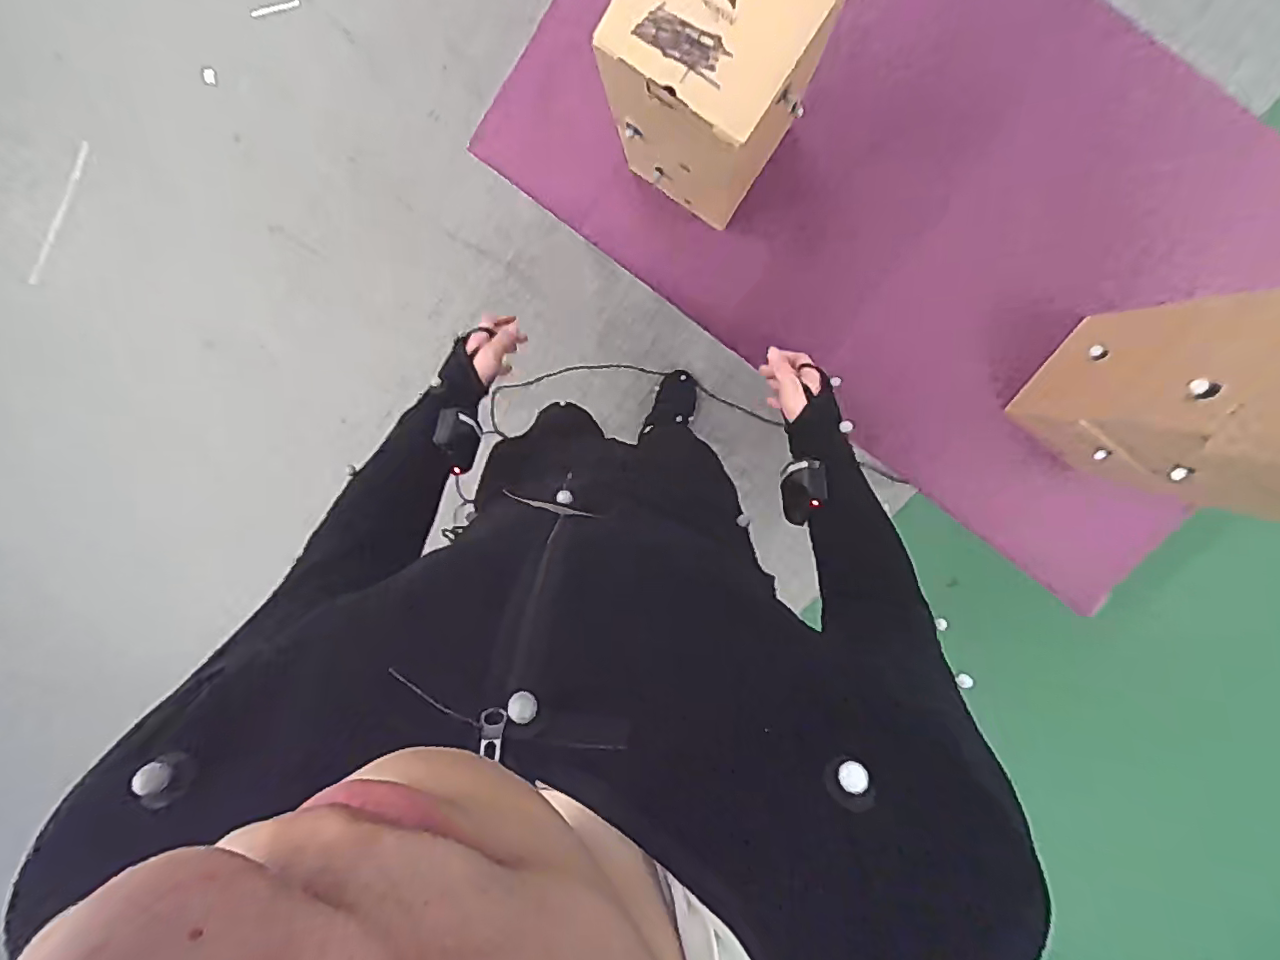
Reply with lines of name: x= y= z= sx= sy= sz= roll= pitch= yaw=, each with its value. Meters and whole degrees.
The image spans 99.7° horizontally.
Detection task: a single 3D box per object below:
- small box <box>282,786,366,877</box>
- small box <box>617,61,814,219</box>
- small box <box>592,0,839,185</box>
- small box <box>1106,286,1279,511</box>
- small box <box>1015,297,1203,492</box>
small box: x=-1.120 y=1.248 z=1.930 sx=0.168 sy=0.176 sz=0.179 roll=32 pitch=103 yaw=-3
small box: x=0.094 y=-0.470 z=0.693 sx=0.168 sy=0.176 sz=0.179 roll=33 pitch=104 yaw=-3
small box: x=0.079 y=-0.432 z=0.532 sx=0.168 sy=0.176 sz=0.179 roll=34 pitch=102 yaw=-3
small box: x=0.646 y=-0.080 z=0.559 sx=0.168 sy=0.176 sz=0.179 roll=37 pitch=102 yaw=-4
small box: x=0.659 y=-0.114 z=0.720 sx=0.168 sy=0.176 sz=0.179 roll=36 pitch=102 yaw=-2
